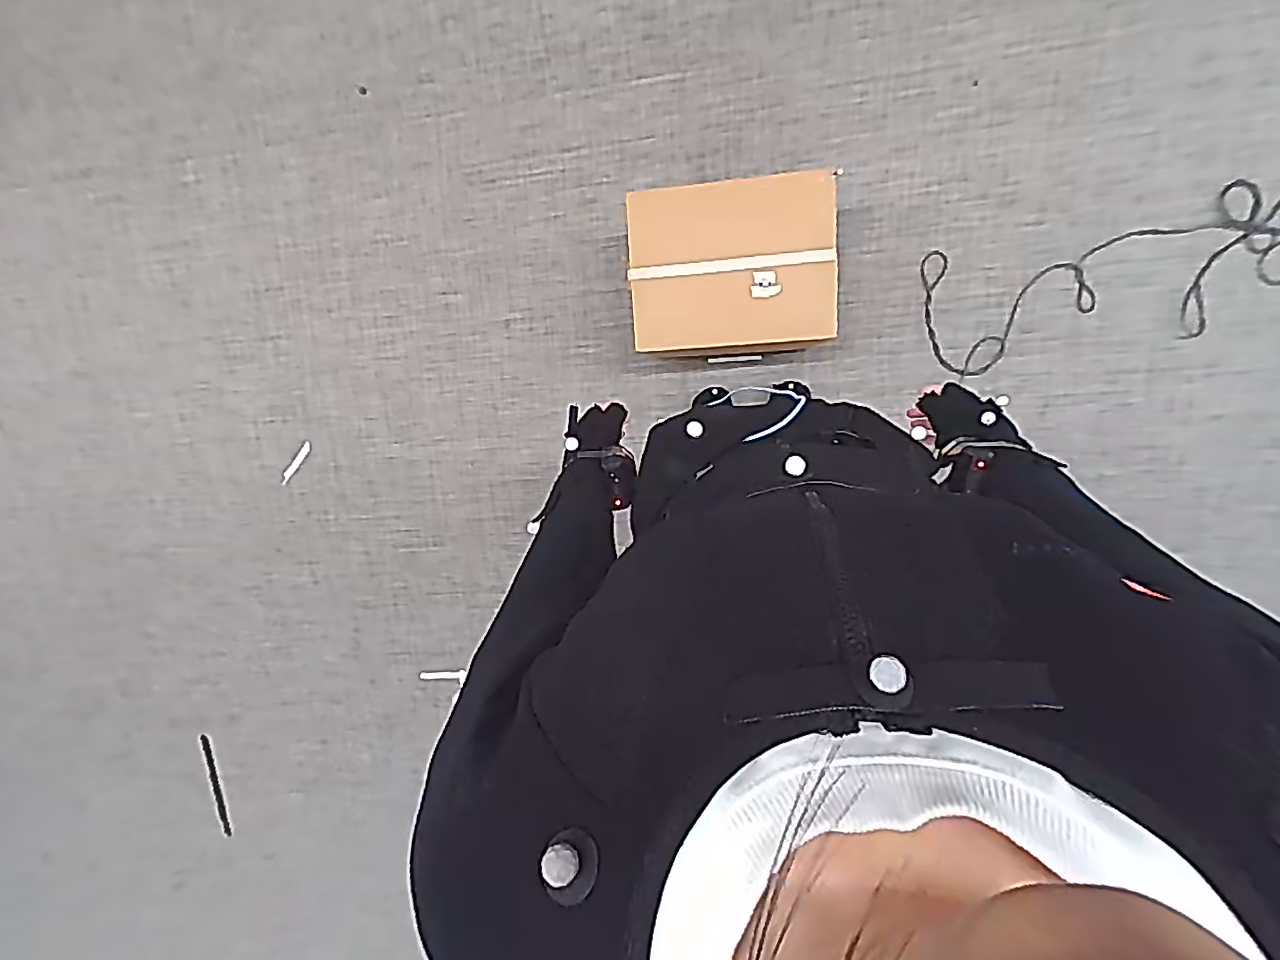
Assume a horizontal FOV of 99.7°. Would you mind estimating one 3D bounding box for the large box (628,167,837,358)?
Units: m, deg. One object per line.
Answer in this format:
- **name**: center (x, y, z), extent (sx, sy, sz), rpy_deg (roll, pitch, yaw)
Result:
- **large box**: center (0.201, -0.455, 1.218), extent (0.408, 0.320, 0.320), rpy_deg (-2, 100, 8)
